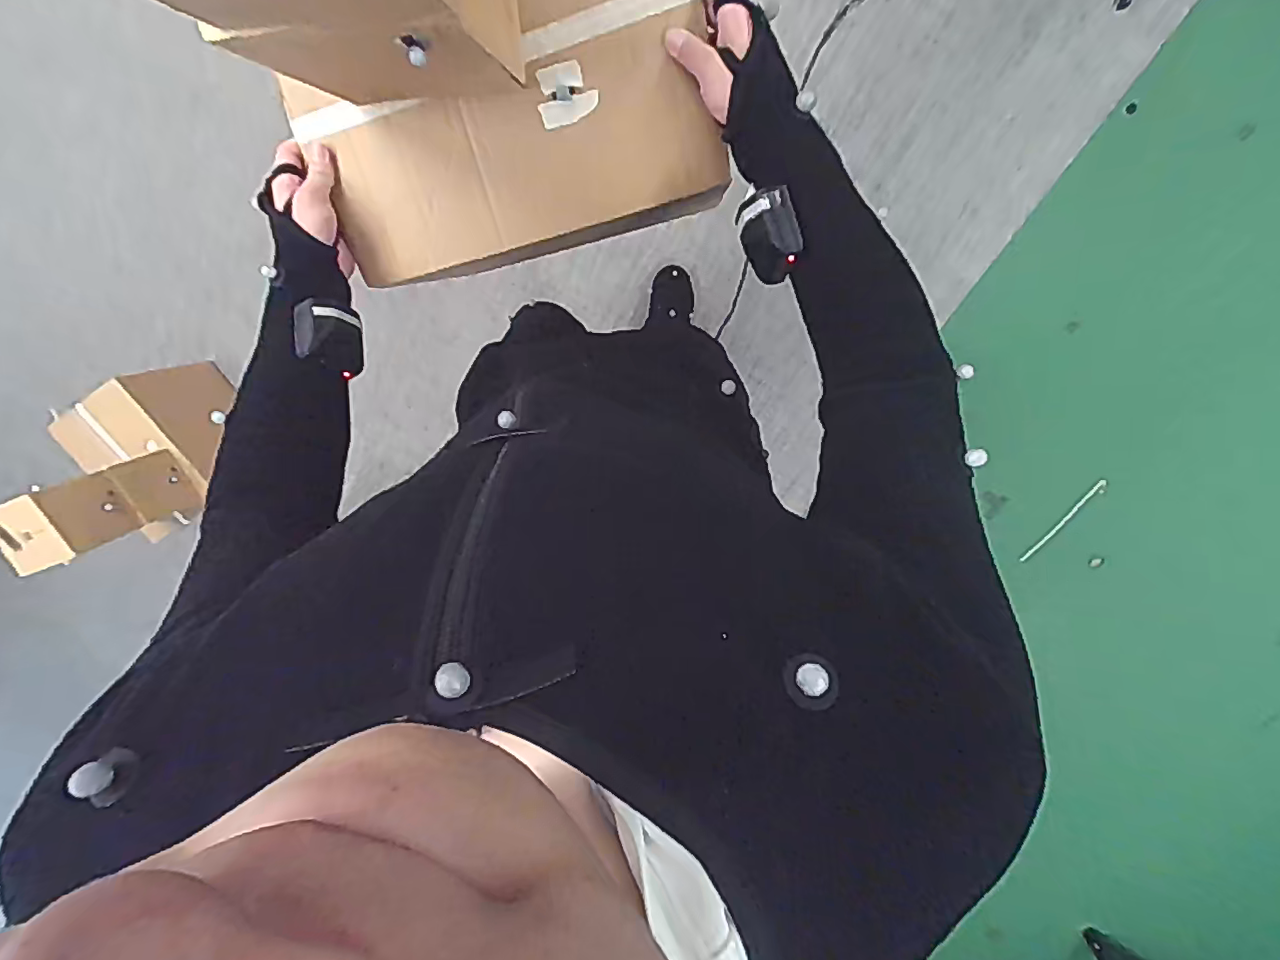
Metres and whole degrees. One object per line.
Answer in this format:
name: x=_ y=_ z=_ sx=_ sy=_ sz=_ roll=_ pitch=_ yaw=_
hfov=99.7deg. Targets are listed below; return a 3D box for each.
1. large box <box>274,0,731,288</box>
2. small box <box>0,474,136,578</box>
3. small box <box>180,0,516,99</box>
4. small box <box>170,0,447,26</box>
large box: x=-0.131 y=-0.443 z=0.630 sx=0.408 sy=0.320 sz=0.320 roll=-12 pitch=113 yaw=10
small box: x=-1.376 y=0.104 z=1.282 sx=0.179 sy=0.176 sz=0.168 roll=-17 pitch=108 yaw=11
small box: x=-0.207 y=-0.398 z=0.392 sx=0.179 sy=0.176 sz=0.168 roll=-1 pitch=113 yaw=6
small box: x=-0.204 y=-0.334 z=0.241 sx=0.179 sy=0.176 sz=0.168 roll=4 pitch=114 yaw=3
